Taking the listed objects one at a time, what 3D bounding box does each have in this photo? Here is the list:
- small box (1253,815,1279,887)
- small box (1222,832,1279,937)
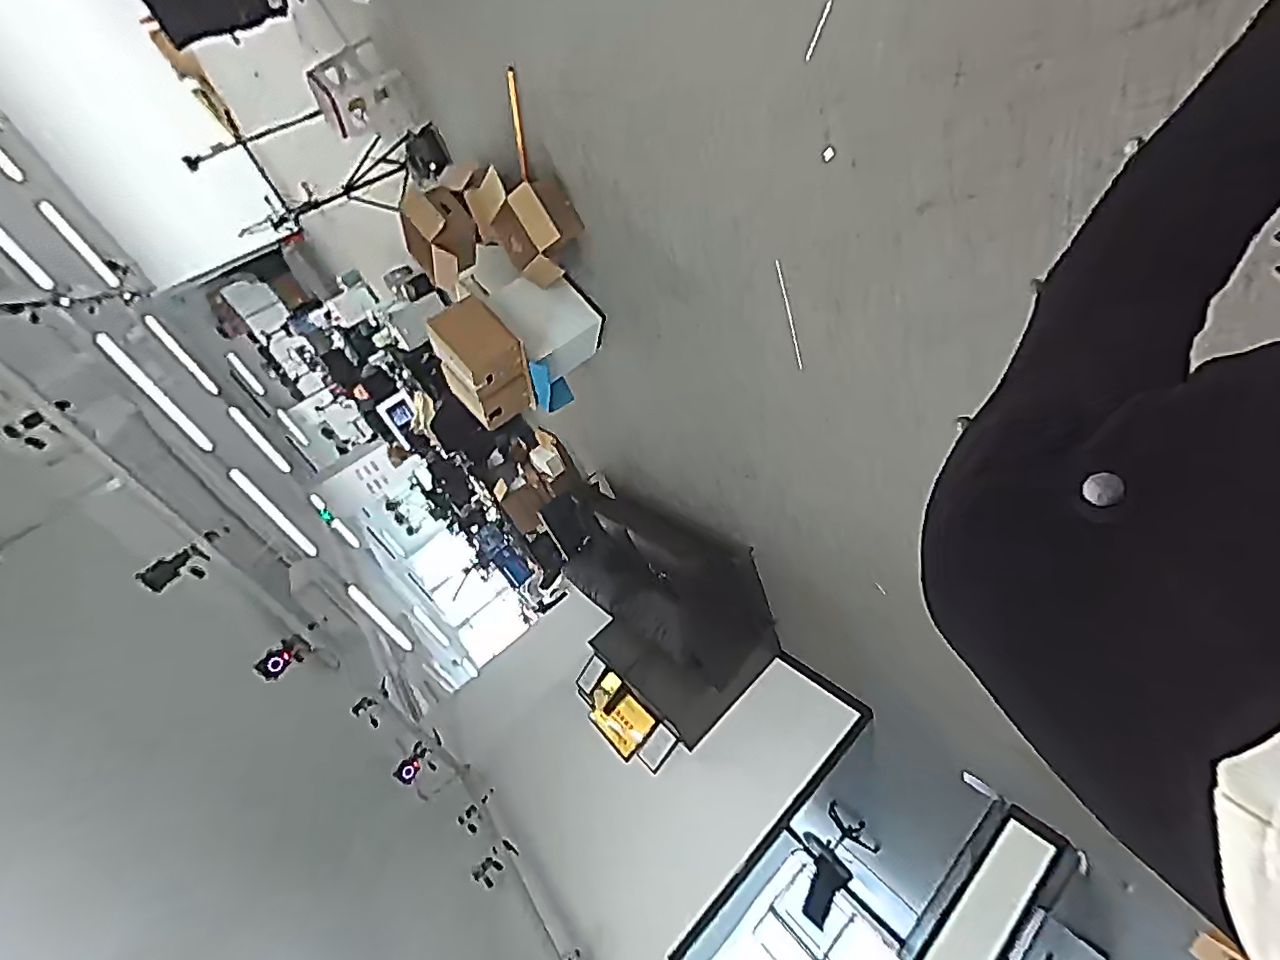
[{"bbox_3d":[1.608,0.893,1.264,0.168,0.176,0.179,28,151,47],"label":"small box"},{"bbox_3d":[1.694,1.078,1.417,0.168,0.176,0.179,28,148,49],"label":"small box"}]
